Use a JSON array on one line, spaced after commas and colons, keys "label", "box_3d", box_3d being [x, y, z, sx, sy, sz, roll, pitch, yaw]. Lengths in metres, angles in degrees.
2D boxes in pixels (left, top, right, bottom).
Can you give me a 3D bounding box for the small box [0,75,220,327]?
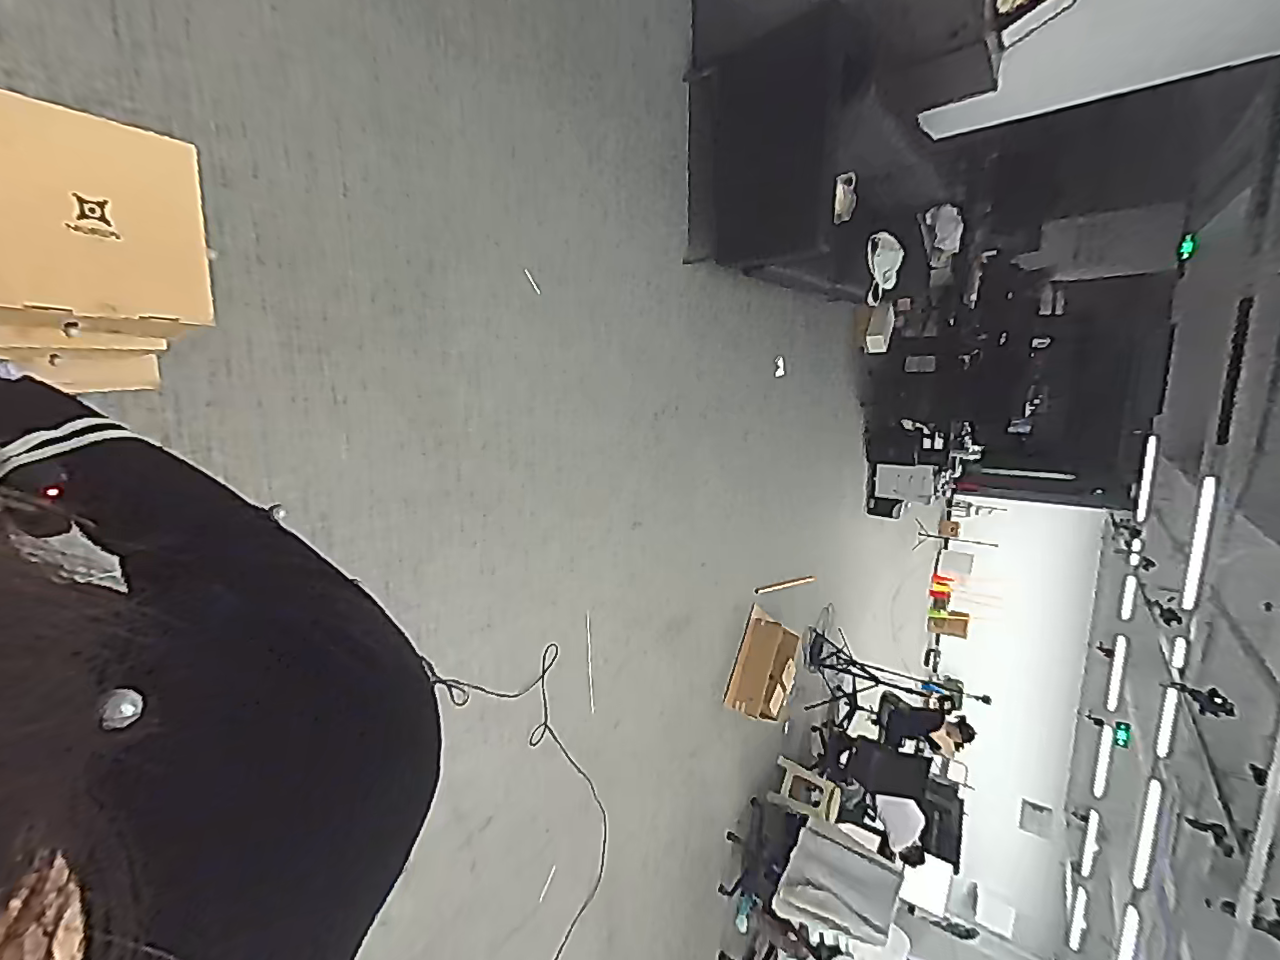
[{"label": "small box", "box_3d": [-0.554, -0.257, 0.541, 0.168, 0.176, 0.179, -10, 104, -51]}]
